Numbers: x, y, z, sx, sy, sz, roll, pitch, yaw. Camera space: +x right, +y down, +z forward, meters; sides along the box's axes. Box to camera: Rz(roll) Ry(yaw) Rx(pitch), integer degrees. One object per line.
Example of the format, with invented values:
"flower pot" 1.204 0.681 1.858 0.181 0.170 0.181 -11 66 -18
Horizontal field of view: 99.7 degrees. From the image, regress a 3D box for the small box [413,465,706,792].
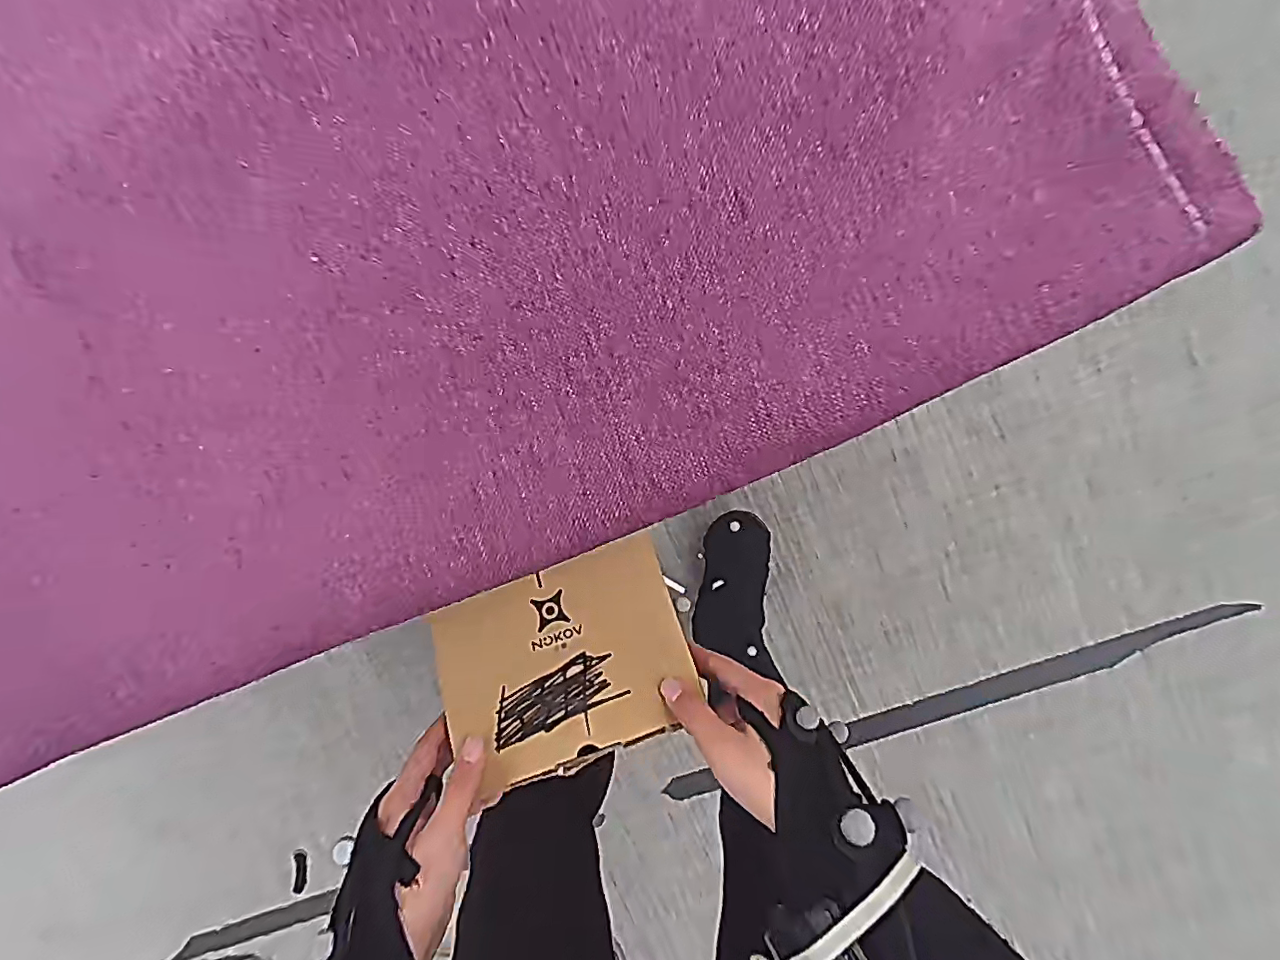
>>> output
"small box" -0.053 0.116 0.436 0.168 0.176 0.179 -19 69 -3
